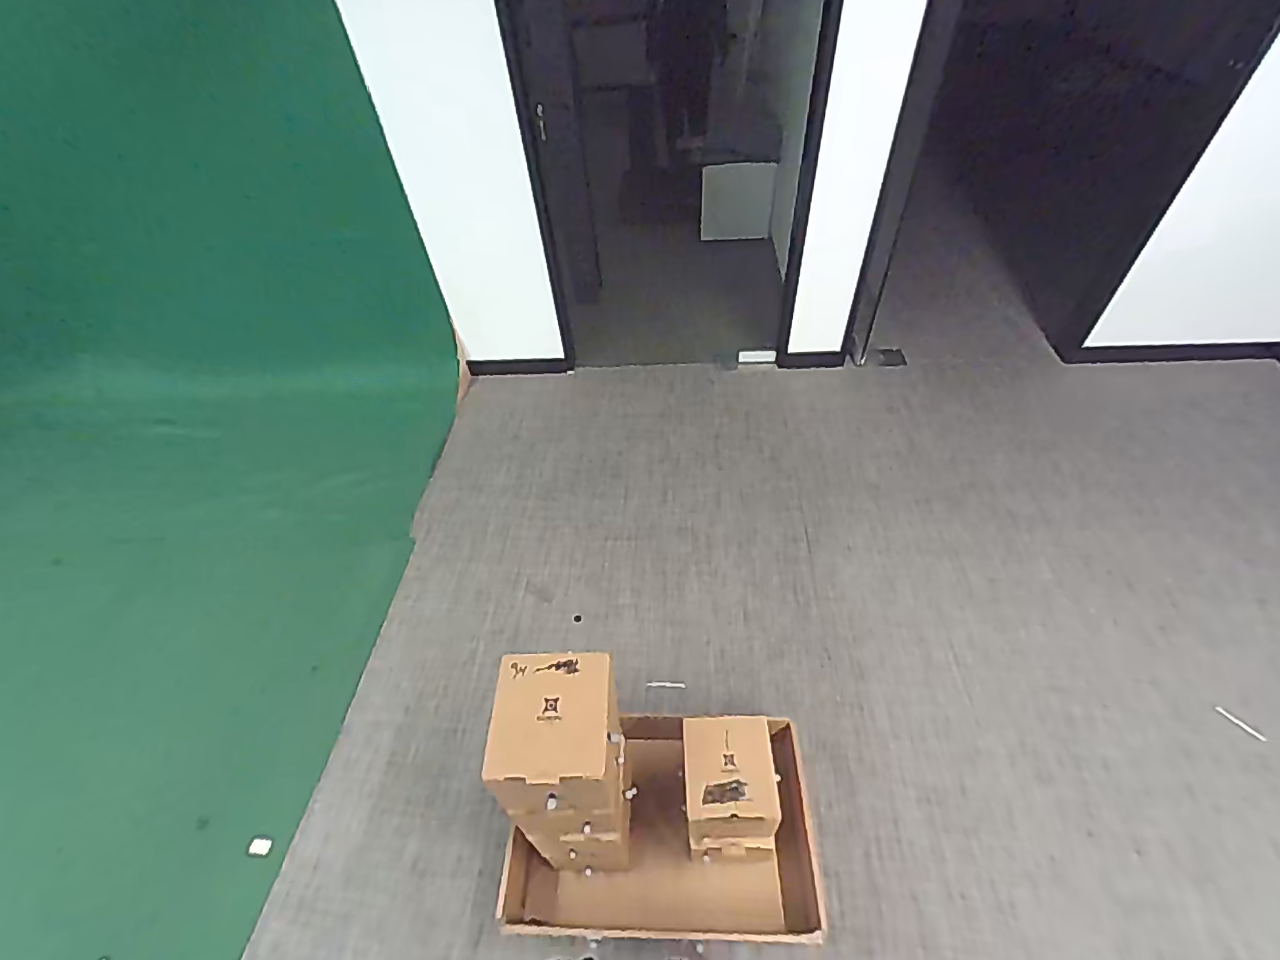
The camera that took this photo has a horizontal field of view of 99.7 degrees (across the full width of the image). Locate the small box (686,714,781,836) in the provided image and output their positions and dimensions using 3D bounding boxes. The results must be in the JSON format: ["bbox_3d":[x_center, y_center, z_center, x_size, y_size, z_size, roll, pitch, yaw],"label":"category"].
[{"bbox_3d":[0.174,0.575,1.049,0.168,0.176,0.179,1,48,4],"label":"small box"}]

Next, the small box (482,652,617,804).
[{"bbox_3d":[-0.123,0.378,0.818,0.168,0.176,0.179,-1,48,1],"label":"small box"}]

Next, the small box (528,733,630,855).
[{"bbox_3d":[-0.109,0.608,1.051,0.168,0.176,0.179,0,47,3],"label":"small box"}]

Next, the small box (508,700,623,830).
[{"bbox_3d":[-0.118,0.492,0.935,0.168,0.176,0.179,-1,47,1],"label":"small box"}]
